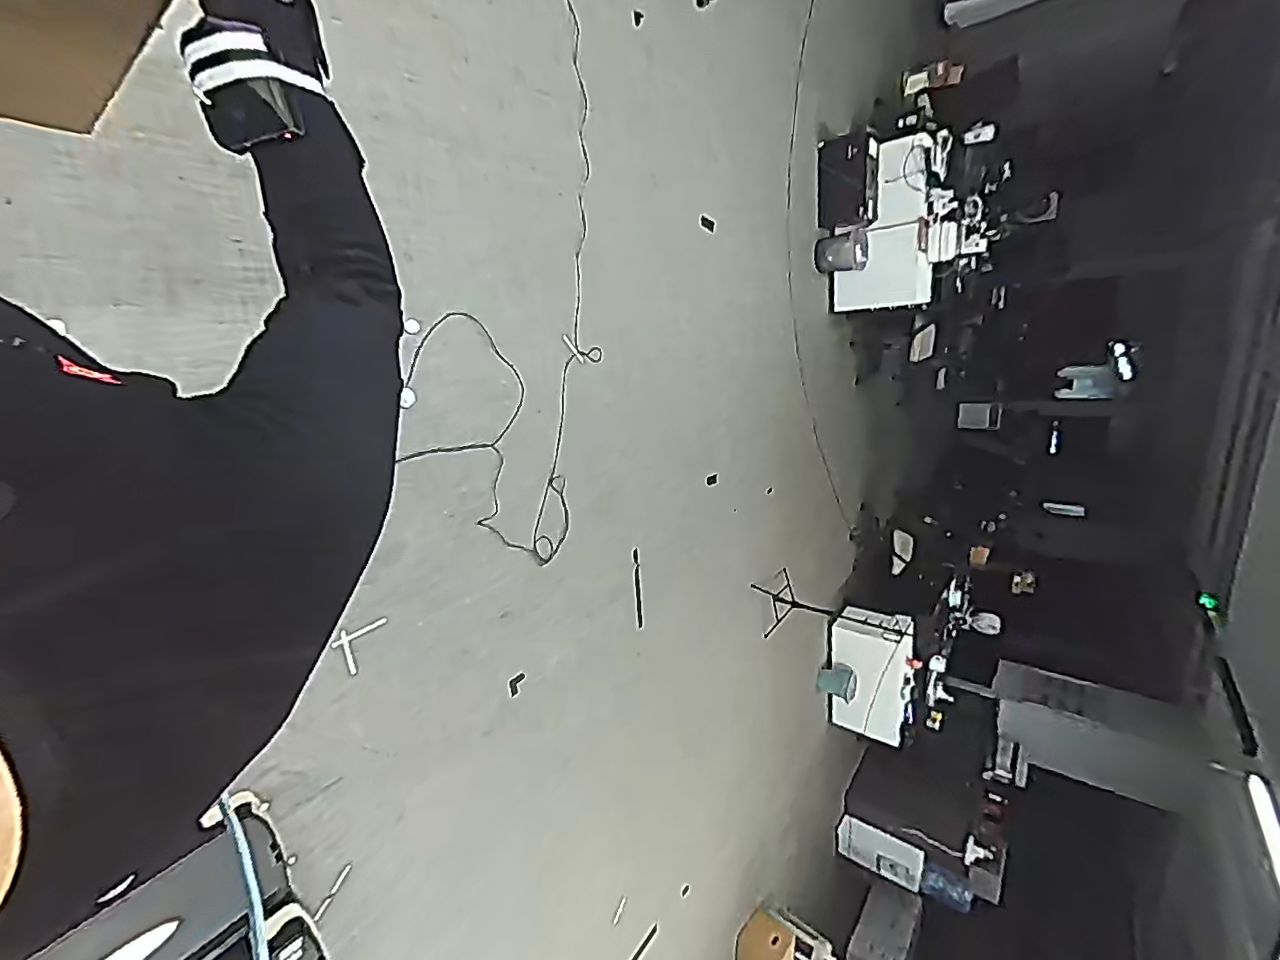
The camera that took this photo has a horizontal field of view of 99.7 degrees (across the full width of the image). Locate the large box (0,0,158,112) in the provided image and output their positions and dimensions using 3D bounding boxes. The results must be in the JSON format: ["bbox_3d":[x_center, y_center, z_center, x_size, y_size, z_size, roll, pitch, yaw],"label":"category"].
[{"bbox_3d":[-0.534,-0.435,0.241,0.408,0.320,0.320,-20,112,-51],"label":"large box"}]

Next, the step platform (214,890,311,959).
[{"bbox_3d":[-1.090,1.287,1.156,0.684,0.204,0.286,-26,115,-45],"label":"step platform"}]
